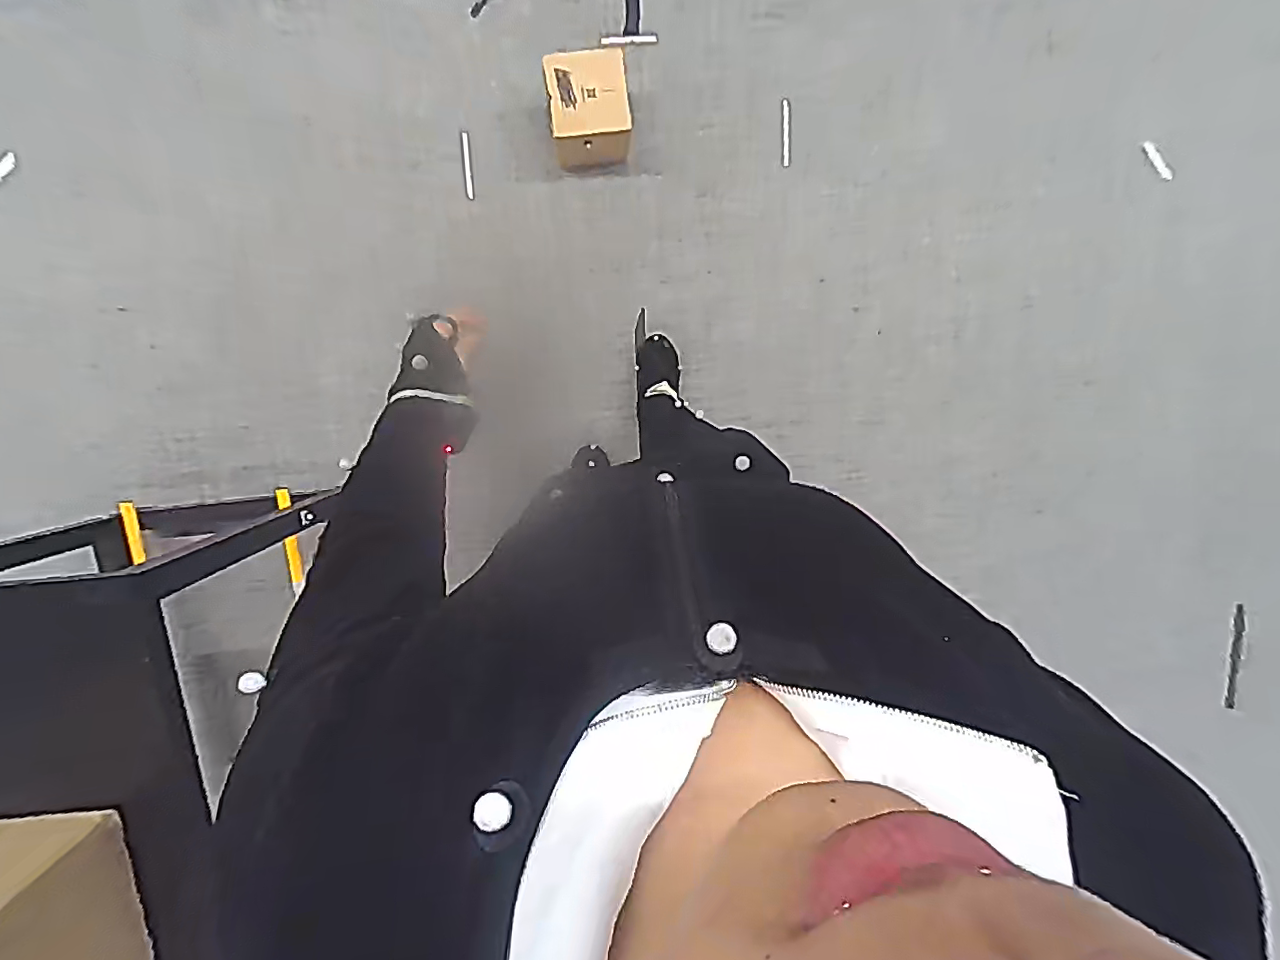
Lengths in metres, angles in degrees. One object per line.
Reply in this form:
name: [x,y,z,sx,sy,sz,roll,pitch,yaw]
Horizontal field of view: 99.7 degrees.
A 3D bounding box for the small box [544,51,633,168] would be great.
small box: [-0.115,-0.844,1.248,0.179,0.176,0.168,-8,100,-3]
